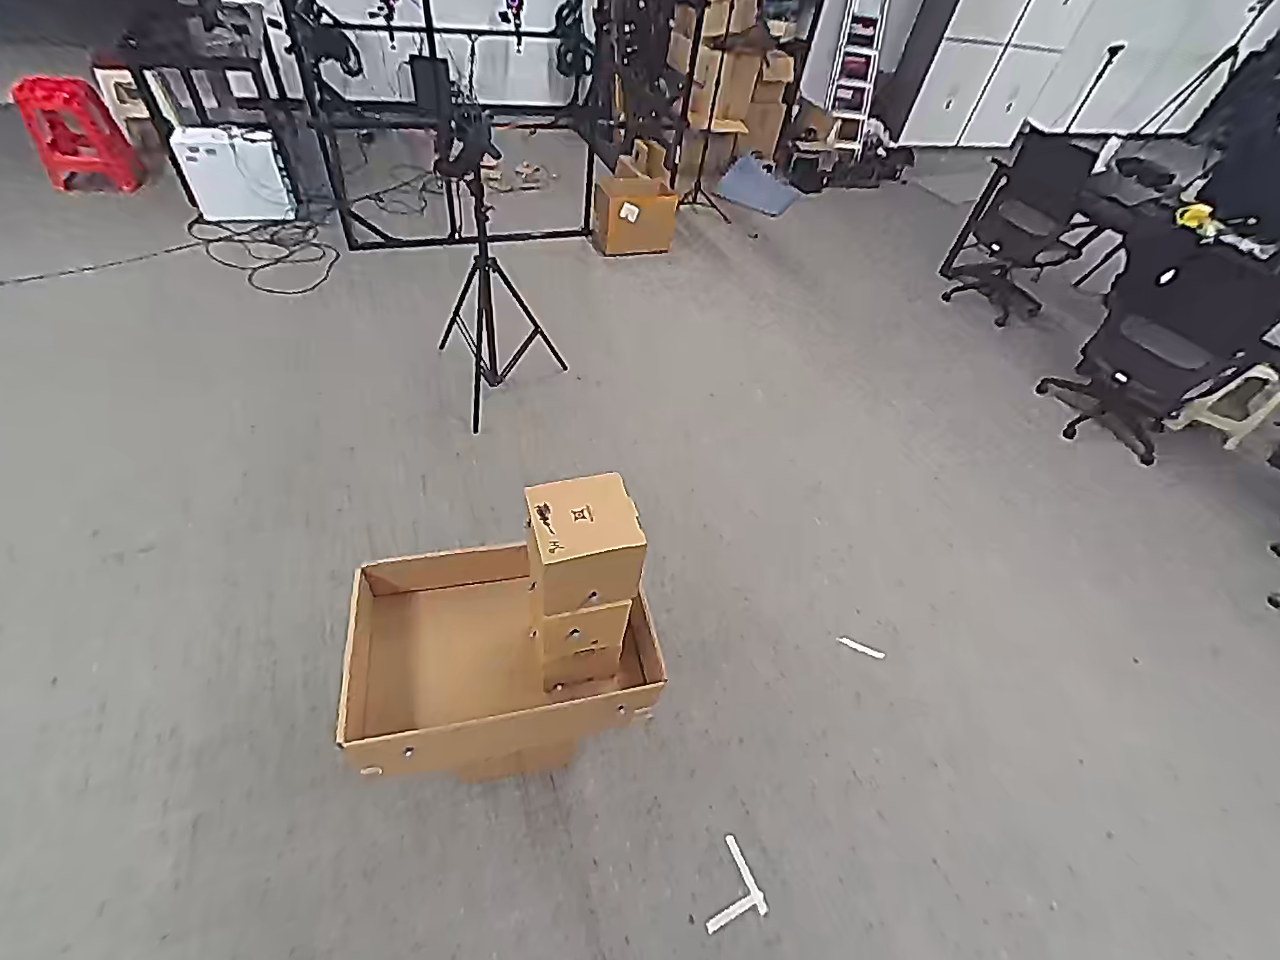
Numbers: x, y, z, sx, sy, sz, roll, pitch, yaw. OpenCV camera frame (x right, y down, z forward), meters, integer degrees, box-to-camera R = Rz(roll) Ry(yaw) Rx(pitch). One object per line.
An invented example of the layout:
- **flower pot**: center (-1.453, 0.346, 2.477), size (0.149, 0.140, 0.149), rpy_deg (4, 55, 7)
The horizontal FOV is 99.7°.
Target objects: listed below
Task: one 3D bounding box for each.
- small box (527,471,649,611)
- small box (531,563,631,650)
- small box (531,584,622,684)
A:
- **small box**: center (-0.101, 0.108, 0.955), size (0.179, 0.176, 0.168), rpy_deg (-9, 49, -17)
- **small box**: center (-0.122, 0.220, 1.072), size (0.168, 0.176, 0.179), rpy_deg (-7, 49, -16)
- **small box**: center (-0.143, 0.330, 1.190), size (0.168, 0.176, 0.179), rpy_deg (-8, 49, -16)
